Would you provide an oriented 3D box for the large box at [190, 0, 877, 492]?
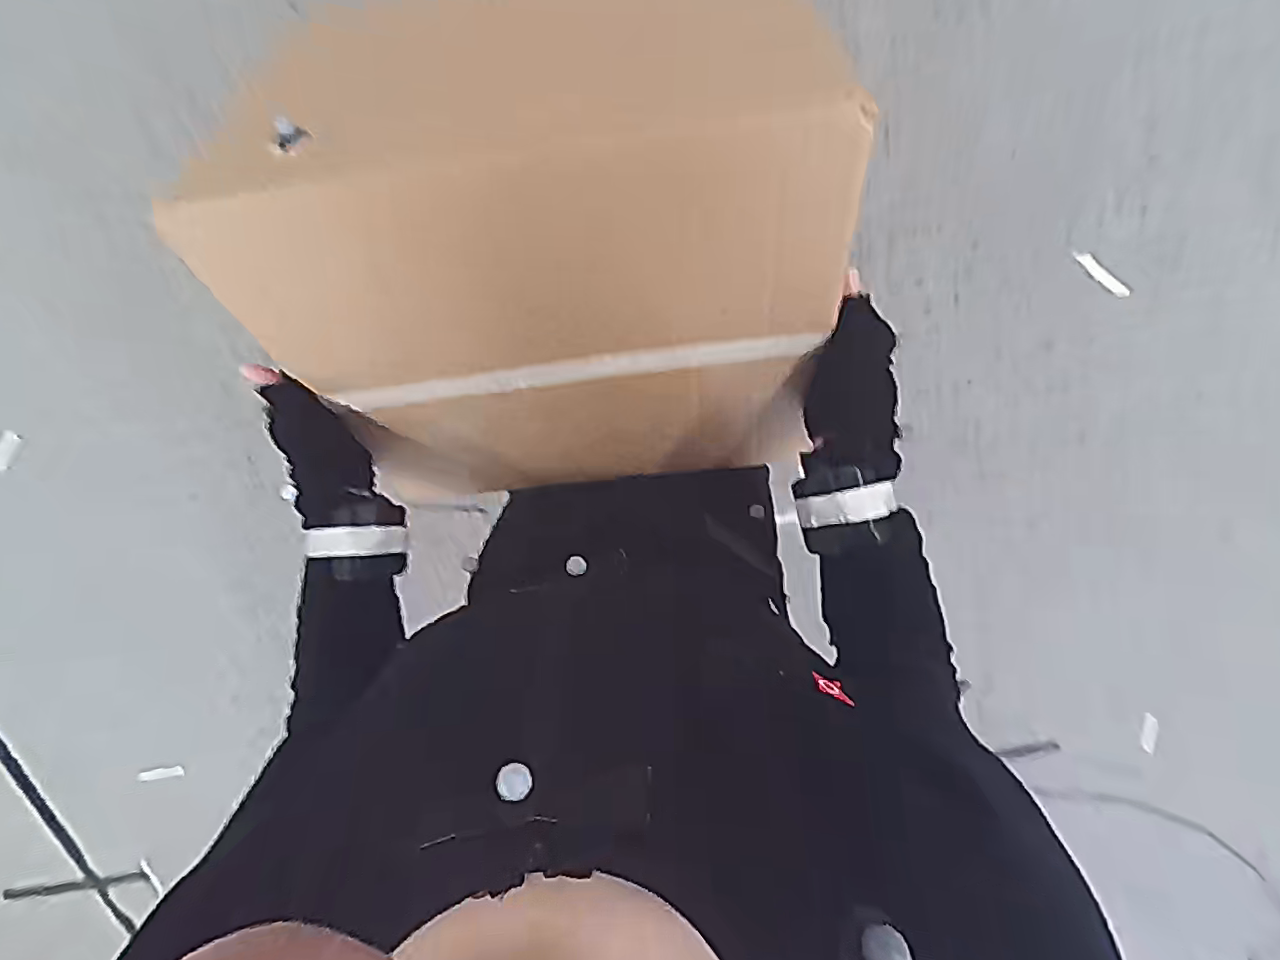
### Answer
[{"bbox_3d":[-0.060,-0.215,0.503,0.408,0.320,0.320,-6,148,4],"label":"large box"}]
